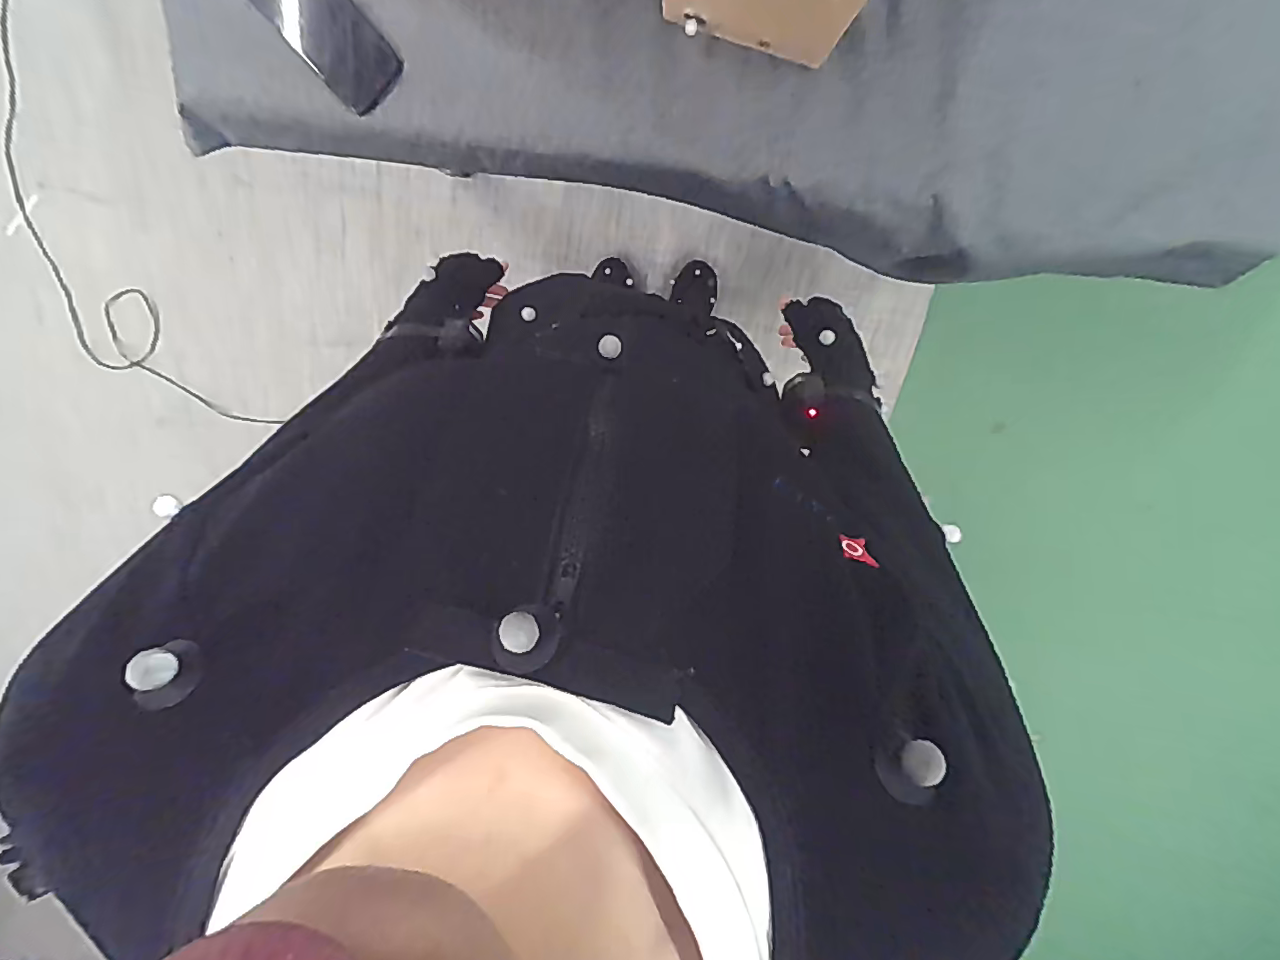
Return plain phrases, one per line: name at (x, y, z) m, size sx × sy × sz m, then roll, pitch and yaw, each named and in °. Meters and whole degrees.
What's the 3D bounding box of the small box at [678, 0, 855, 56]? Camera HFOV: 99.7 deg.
small box at (0.121, -0.486, 0.434) m, size 0.168 × 0.176 × 0.179 m, roll 16°, pitch 111°, yaw -3°
